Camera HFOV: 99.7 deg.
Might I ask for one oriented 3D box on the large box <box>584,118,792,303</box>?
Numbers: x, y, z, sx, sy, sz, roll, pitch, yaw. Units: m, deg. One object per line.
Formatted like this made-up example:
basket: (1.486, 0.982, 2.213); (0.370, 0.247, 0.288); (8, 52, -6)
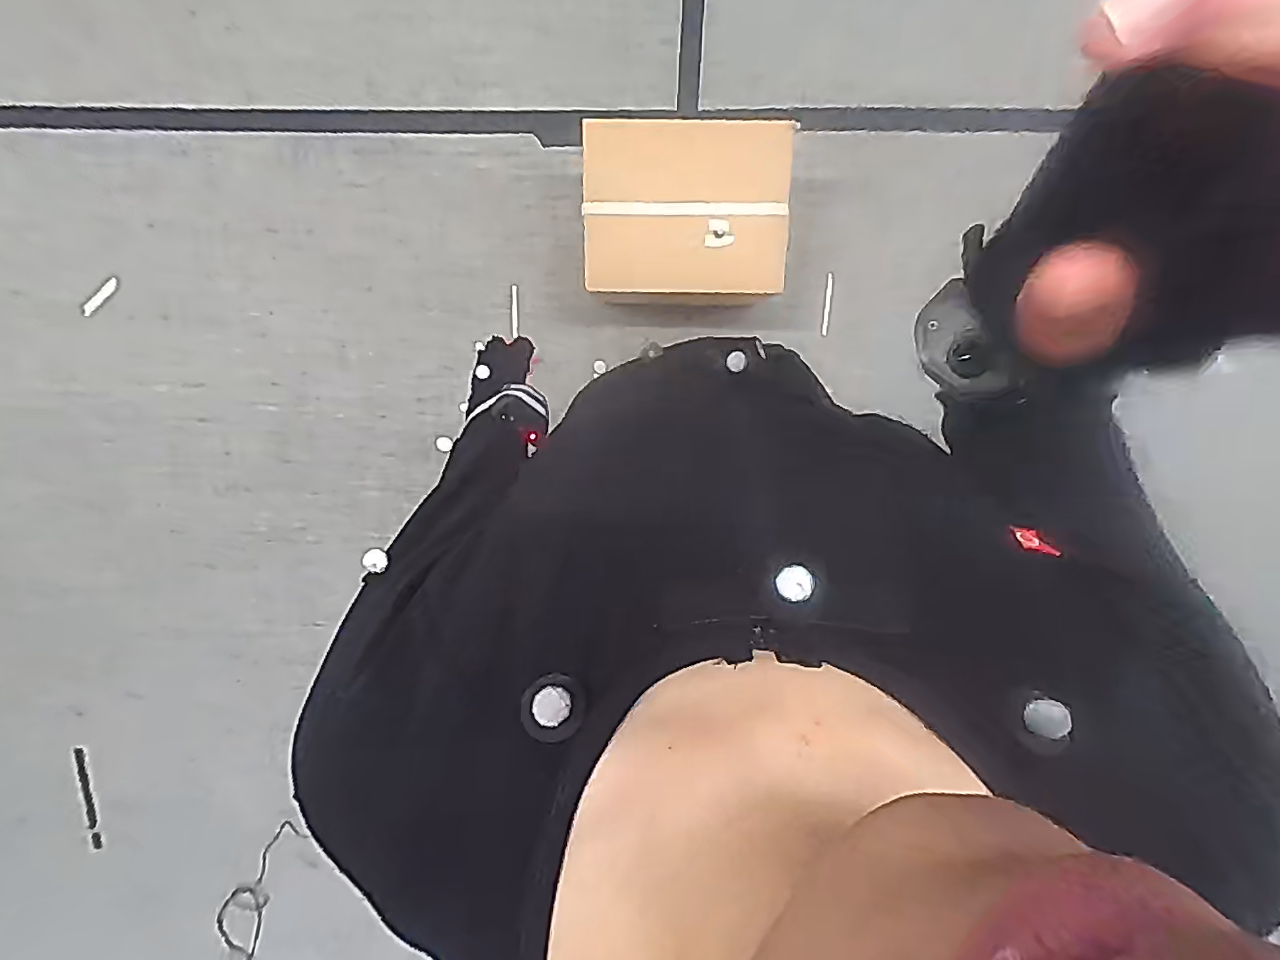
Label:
large box: (0.089, -0.571, 1.206); (0.408, 0.320, 0.320); (0, 104, -1)
